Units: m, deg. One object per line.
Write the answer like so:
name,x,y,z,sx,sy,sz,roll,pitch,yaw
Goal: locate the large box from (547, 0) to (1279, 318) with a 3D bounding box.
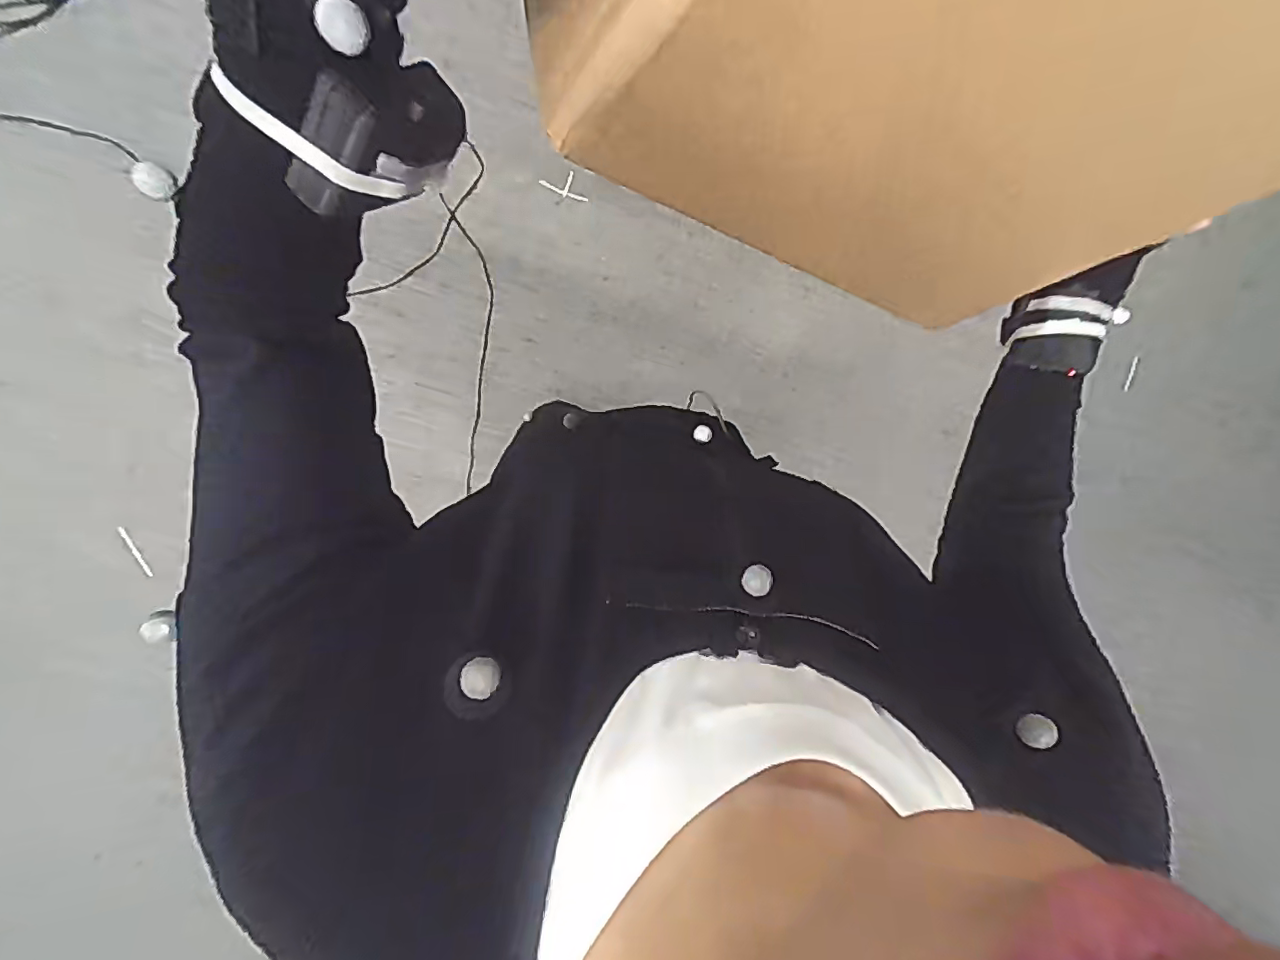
large box,0.187,-0.322,0.277,0.408,0.320,0.320,1,78,-42
